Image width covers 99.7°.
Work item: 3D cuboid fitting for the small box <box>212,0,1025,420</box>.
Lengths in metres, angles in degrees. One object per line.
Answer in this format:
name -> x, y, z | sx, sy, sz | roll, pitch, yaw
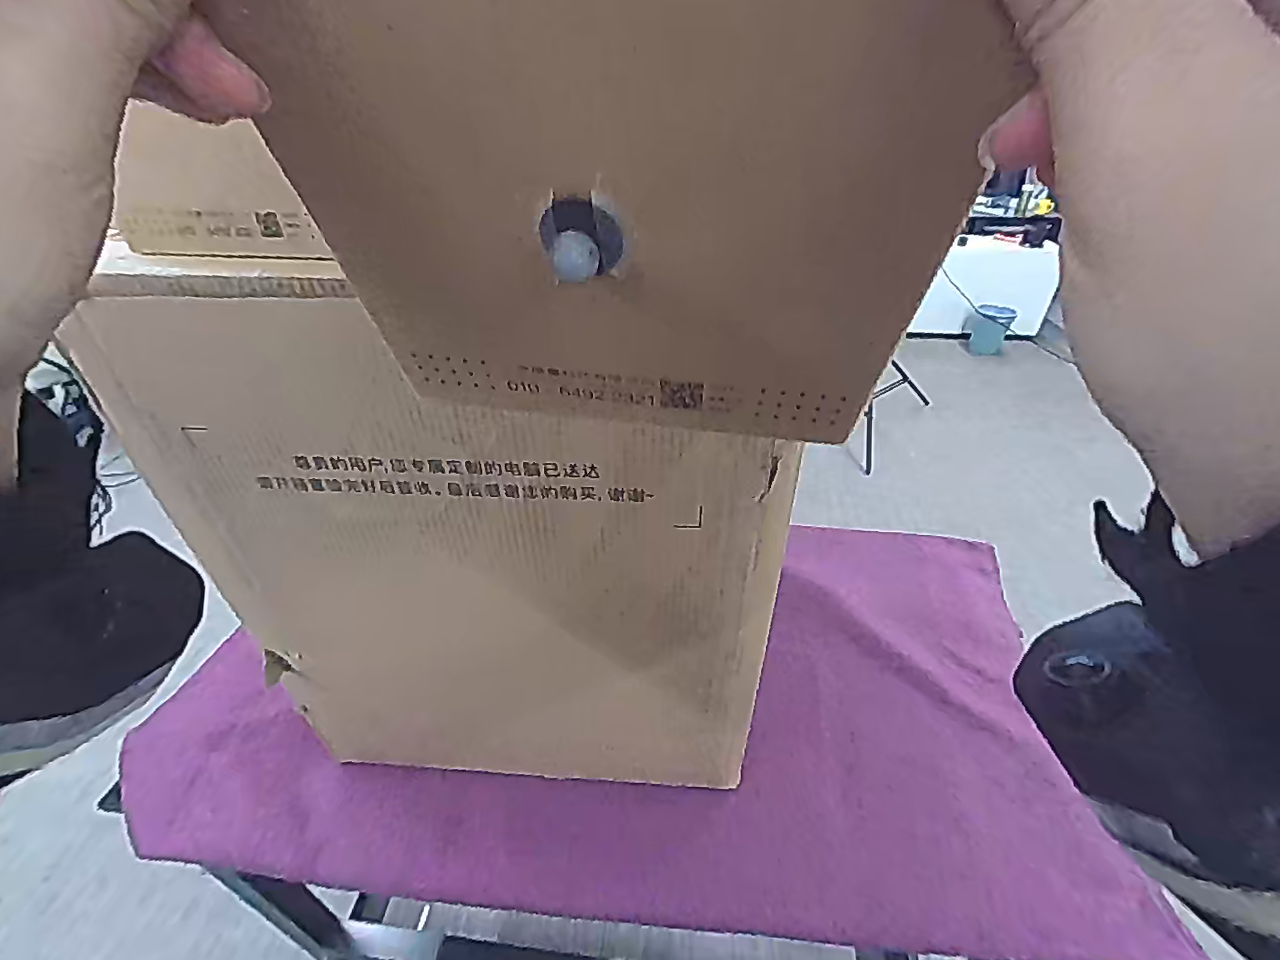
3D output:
small box -> 0.004, -0.139, 0.175 | 0.168, 0.176, 0.179 | 7, 59, 6
